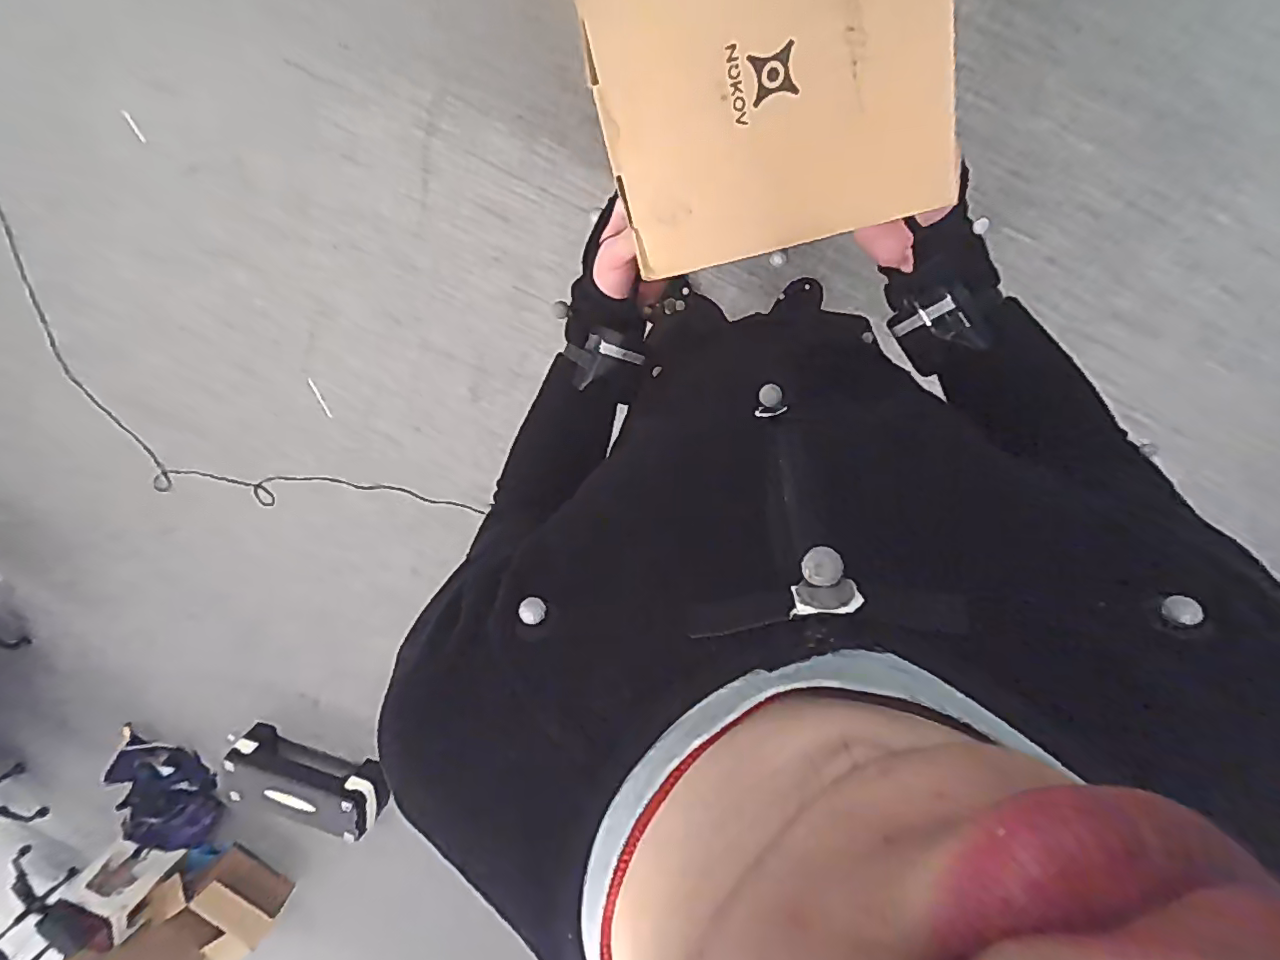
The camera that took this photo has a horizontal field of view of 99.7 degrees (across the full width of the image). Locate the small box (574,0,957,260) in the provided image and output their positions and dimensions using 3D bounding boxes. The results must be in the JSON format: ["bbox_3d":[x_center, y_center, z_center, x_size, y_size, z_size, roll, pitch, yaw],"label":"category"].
[{"bbox_3d":[0.075,-0.249,0.335,0.179,0.176,0.168,-9,117,15],"label":"small box"}]
